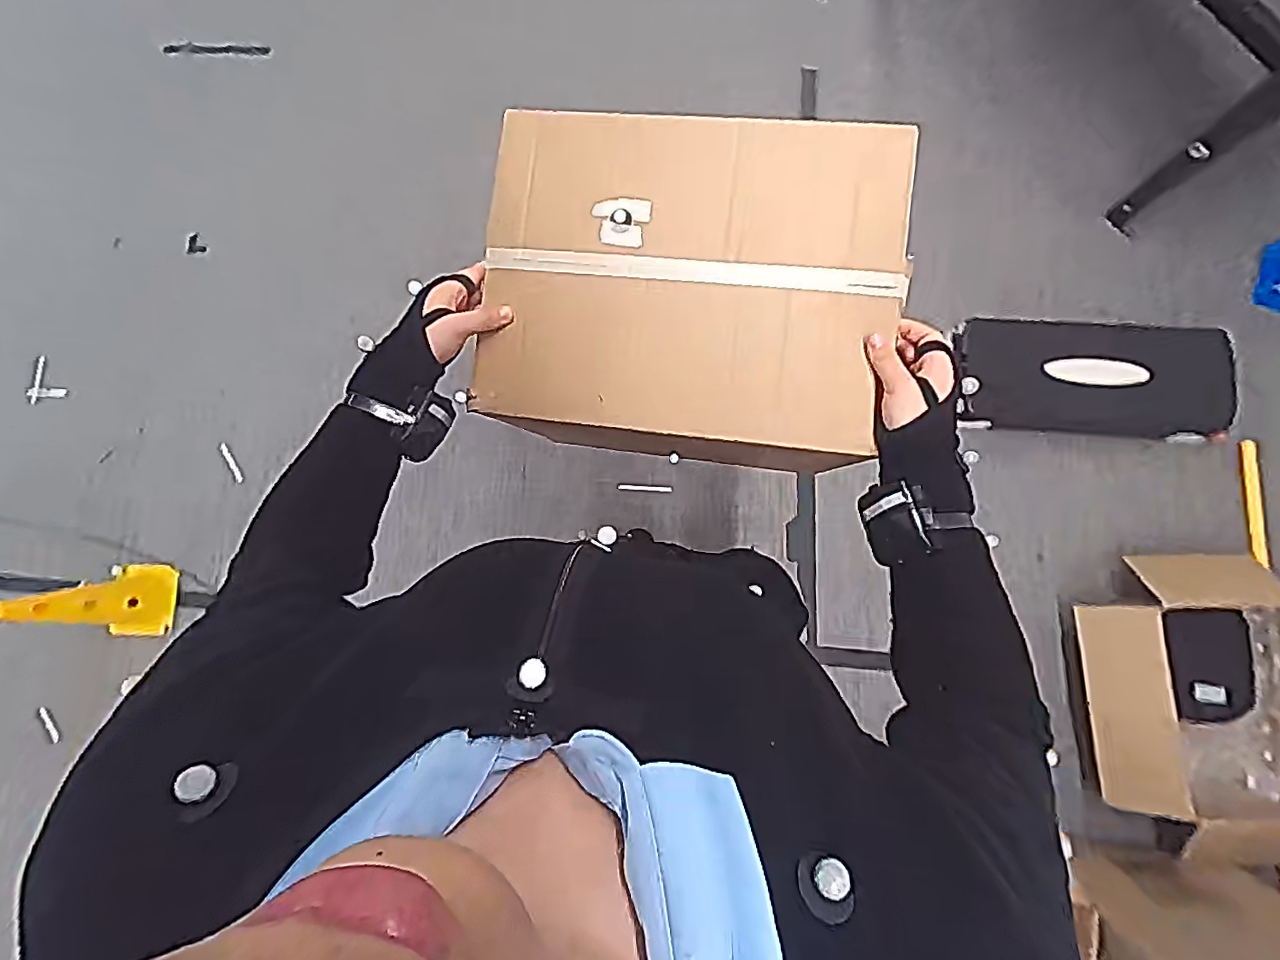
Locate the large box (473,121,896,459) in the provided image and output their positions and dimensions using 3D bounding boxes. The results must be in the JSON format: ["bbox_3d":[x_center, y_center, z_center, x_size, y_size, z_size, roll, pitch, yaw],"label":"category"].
[{"bbox_3d":[0.057,-0.201,0.682,0.408,0.320,0.320,6,88,8],"label":"large box"}]
